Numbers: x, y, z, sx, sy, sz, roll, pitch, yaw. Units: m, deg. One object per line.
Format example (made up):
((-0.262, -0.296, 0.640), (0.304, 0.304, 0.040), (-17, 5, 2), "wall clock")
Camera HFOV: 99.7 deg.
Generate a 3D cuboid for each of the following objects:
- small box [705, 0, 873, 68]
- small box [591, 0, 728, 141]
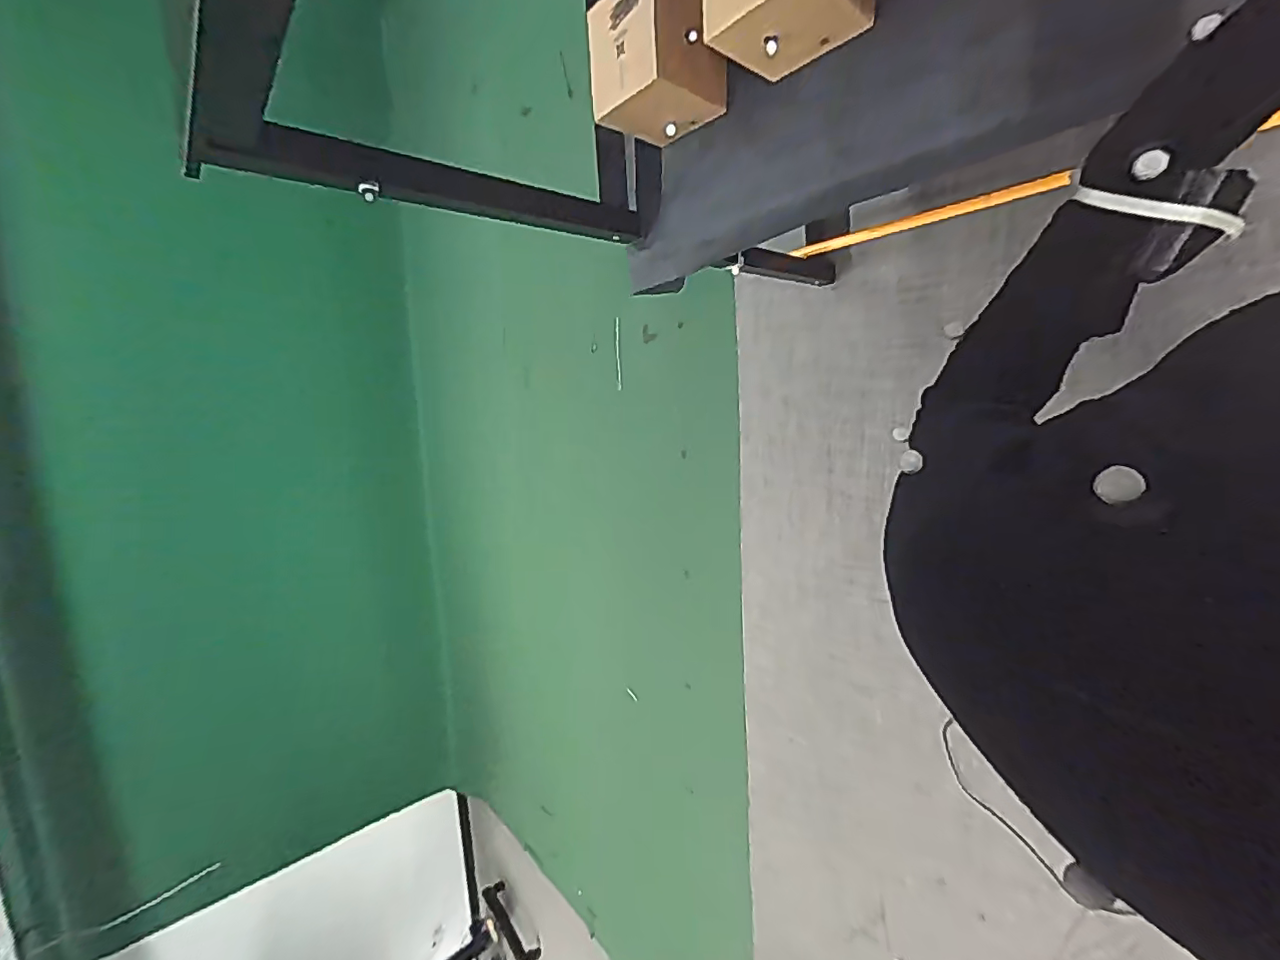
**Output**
((0.203, -0.702, 0.733), (0.168, 0.176, 0.179), (6, 102, 49), "small box")
((0.035, -0.718, 0.921), (0.168, 0.176, 0.179), (7, 103, 49), "small box")
